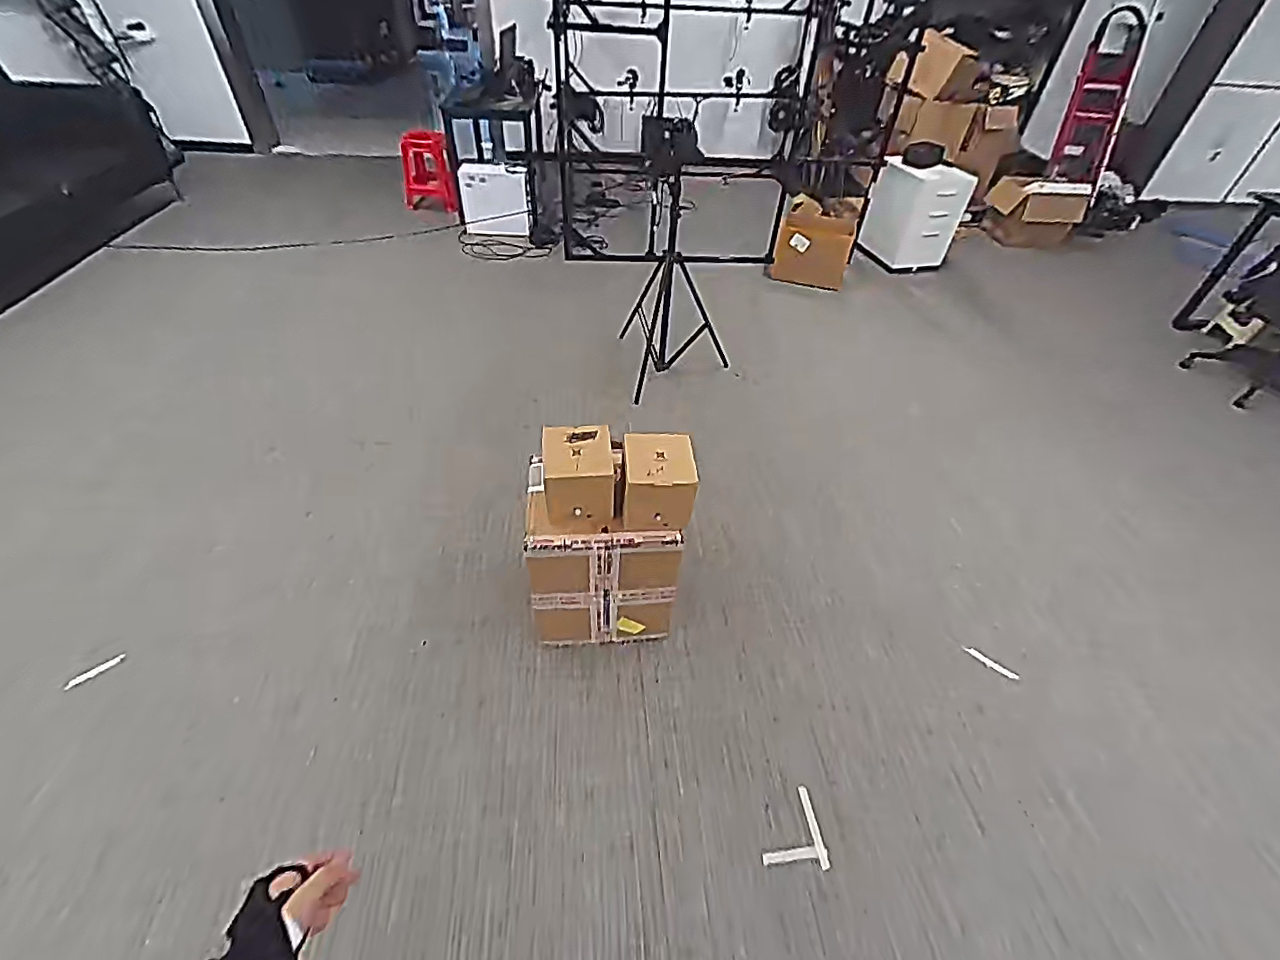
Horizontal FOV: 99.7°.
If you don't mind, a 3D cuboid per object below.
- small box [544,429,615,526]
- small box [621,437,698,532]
[{"bbox_3d":[-0.151,-0.005,1.351,0.168,0.176,0.179,-4,48,-6],"label":"small box"},{"bbox_3d":[0.042,0.011,1.349,0.168,0.176,0.179,0,46,-6],"label":"small box"}]
